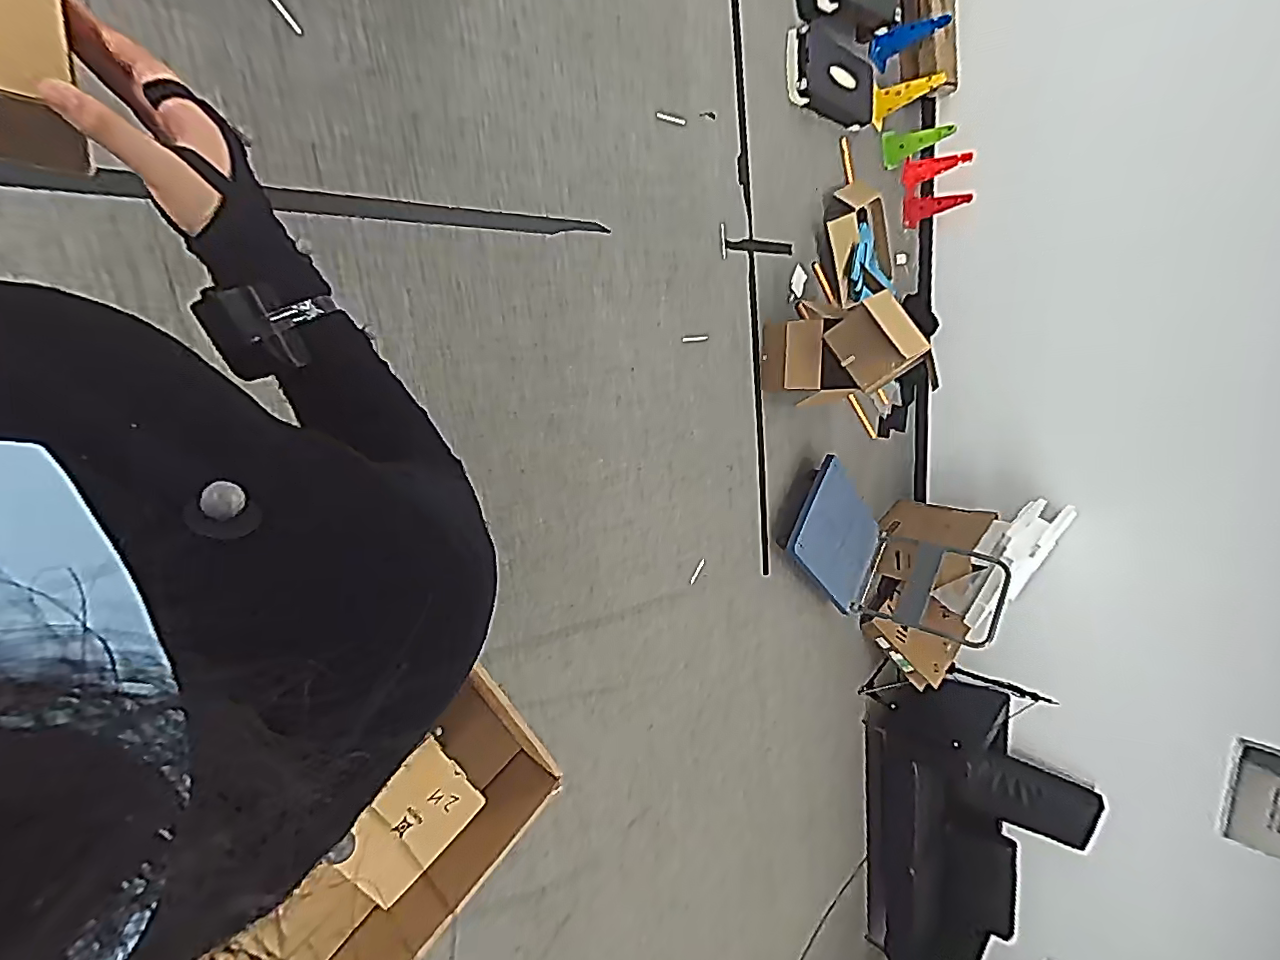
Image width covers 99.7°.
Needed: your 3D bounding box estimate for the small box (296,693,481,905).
[{"bbox_3d":[-0.379,0.459,0.804,0.179,0.176,0.168,-40,121,-31],"label":"small box"}]
